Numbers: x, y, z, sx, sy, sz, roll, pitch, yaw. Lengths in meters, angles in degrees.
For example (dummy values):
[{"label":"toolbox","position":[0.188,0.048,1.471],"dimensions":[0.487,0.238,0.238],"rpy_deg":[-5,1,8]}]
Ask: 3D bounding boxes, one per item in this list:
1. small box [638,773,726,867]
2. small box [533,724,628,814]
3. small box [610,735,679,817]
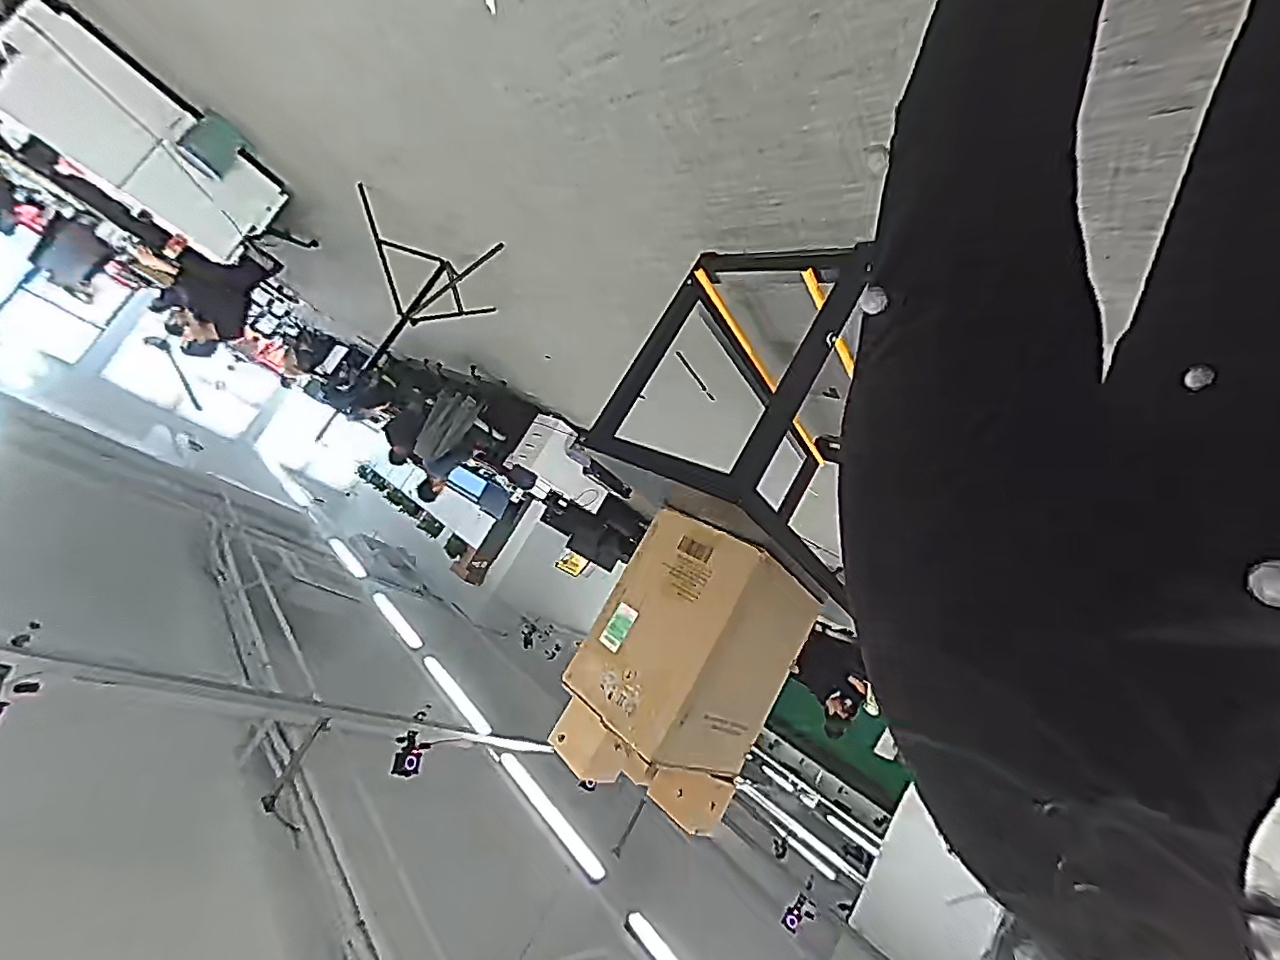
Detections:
[{"label":"small box","position":[0.132,1.007,1.605],"dimensions":[0.179,0.176,0.168],"rpy_deg":[15,160,47]},{"label":"small box","position":[-0.167,0.826,1.558],"dimensions":[0.179,0.176,0.168],"rpy_deg":[23,170,45]},{"label":"small box","position":[-0.002,0.956,1.753],"dimensions":[0.168,0.176,0.179],"rpy_deg":[23,167,43]}]
